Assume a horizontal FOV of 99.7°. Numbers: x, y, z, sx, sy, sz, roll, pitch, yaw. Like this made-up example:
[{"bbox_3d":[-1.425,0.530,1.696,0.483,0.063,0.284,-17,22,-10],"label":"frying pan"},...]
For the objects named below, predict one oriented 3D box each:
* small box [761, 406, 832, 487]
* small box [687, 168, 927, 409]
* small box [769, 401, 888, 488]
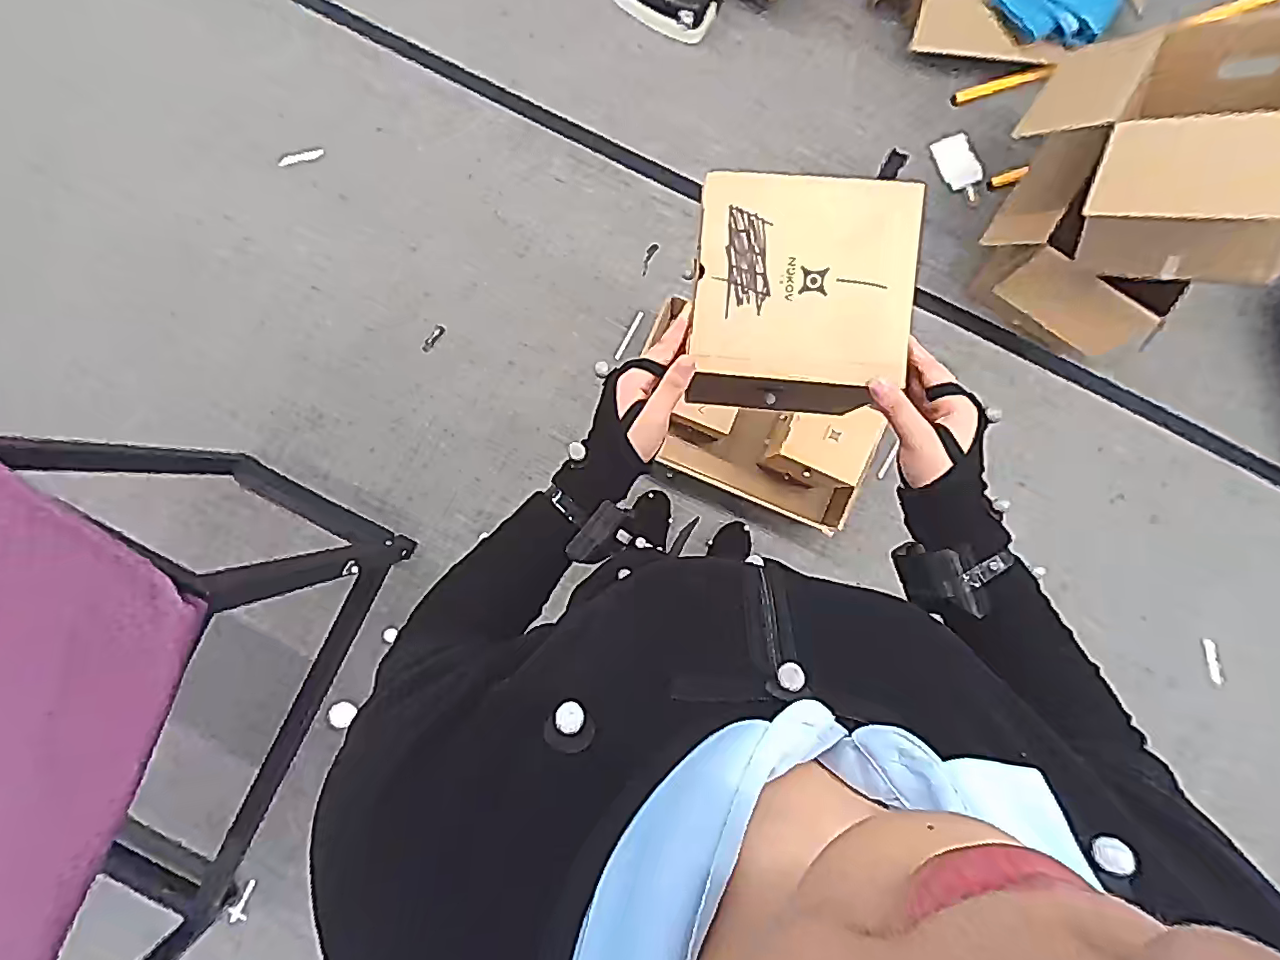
[{"bbox_3d":[0.421,-0.091,1.370,0.168,0.176,0.179,25,89,2],"label":"small box"},{"bbox_3d":[0.139,-0.163,0.511,0.179,0.176,0.168,6,91,4],"label":"small box"},{"bbox_3d":[0.410,-0.093,1.208,0.179,0.176,0.168,24,90,4],"label":"small box"}]
